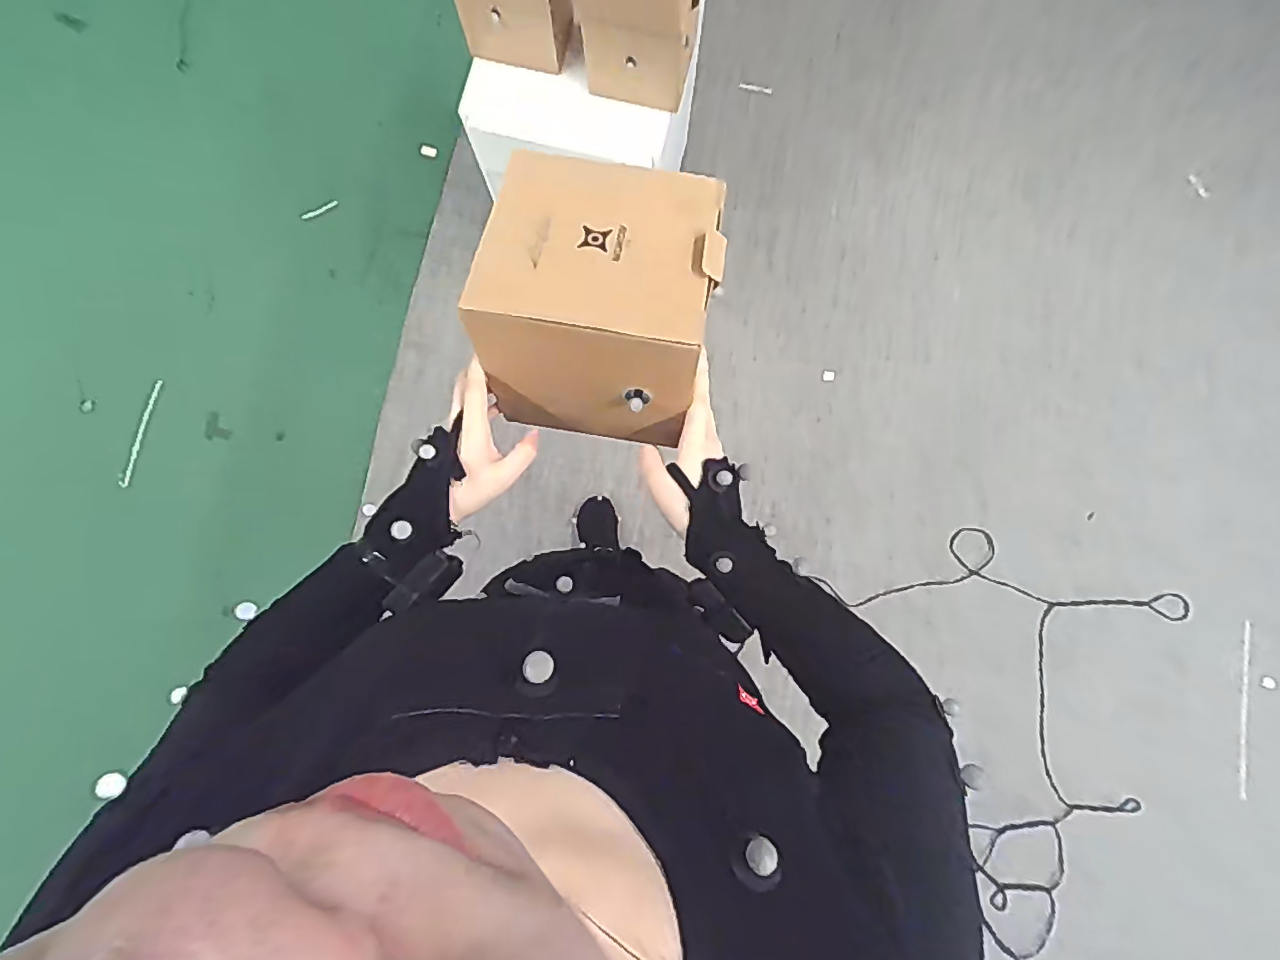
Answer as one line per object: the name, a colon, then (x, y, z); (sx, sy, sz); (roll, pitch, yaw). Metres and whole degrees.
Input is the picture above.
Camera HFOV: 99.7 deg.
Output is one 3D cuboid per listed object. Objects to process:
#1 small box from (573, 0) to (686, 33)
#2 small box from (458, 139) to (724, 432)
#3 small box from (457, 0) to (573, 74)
small box: (-0.007, -0.819, 0.803); (0.179, 0.176, 0.168); (13, 82, 1)
small box: (-0.033, -0.158, 0.479); (0.179, 0.176, 0.168); (9, 67, 2)
small box: (-0.226, -0.881, 0.972); (0.179, 0.176, 0.168); (12, 82, -2)
